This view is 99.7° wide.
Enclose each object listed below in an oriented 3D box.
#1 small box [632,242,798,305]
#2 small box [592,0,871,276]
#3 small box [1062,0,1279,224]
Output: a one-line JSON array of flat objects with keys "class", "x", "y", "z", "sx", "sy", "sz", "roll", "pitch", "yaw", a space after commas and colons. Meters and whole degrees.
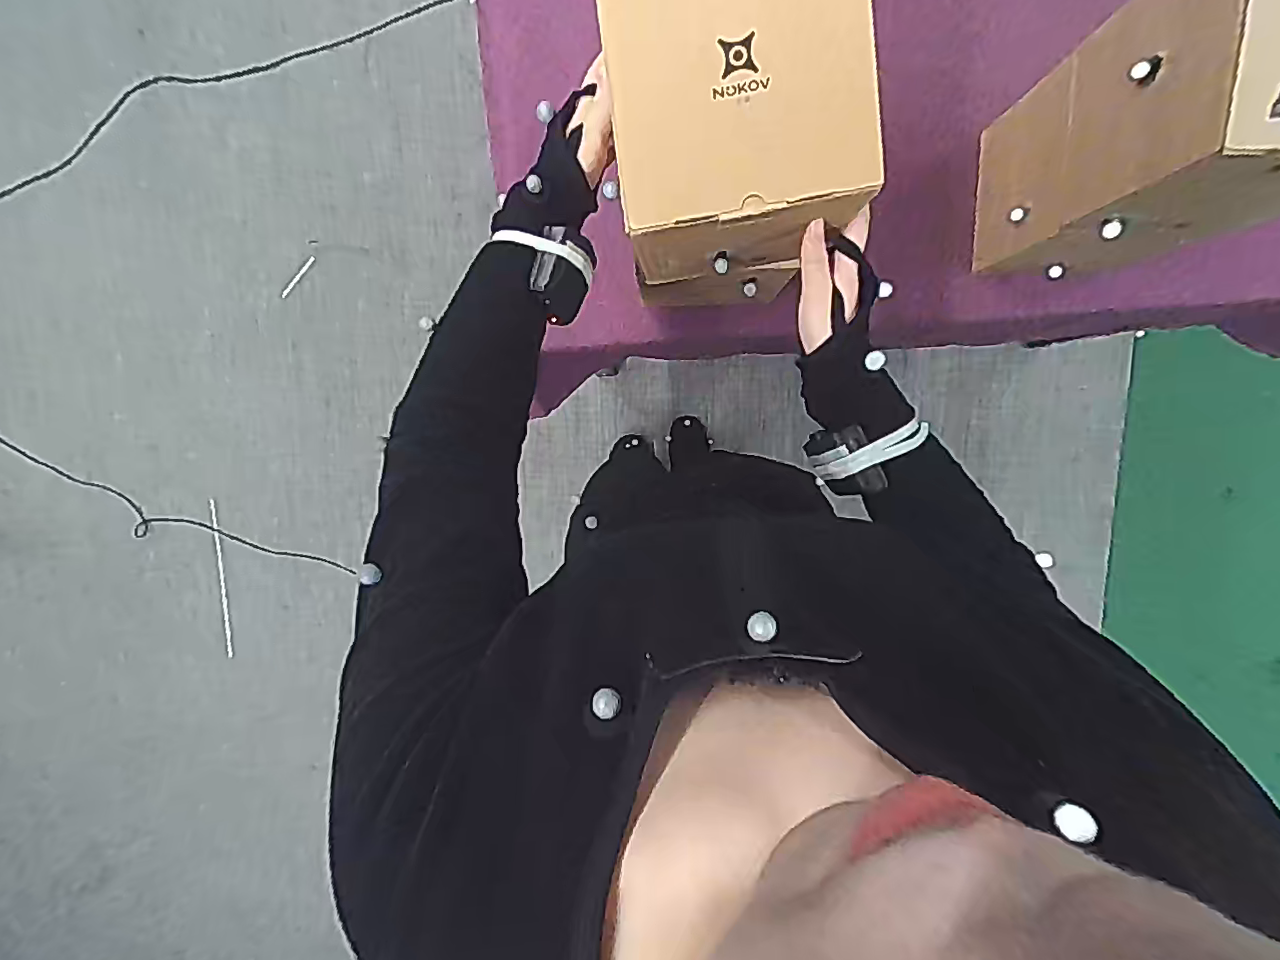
[{"class": "small box", "x": 0.081, "y": -0.309, "z": 0.639, "sx": 0.179, "sy": 0.176, "sz": 0.168, "roll": -1, "pitch": 96, "yaw": 4}, {"class": "small box", "x": 0.062, "y": -0.274, "z": 0.418, "sx": 0.168, "sy": 0.176, "sz": 0.179, "roll": -7, "pitch": 100, "yaw": 7}, {"class": "small box", "x": 0.491, "y": -0.325, "z": 0.442, "sx": 0.168, "sy": 0.176, "sz": 0.179, "roll": 2, "pitch": 96, "yaw": 4}]
